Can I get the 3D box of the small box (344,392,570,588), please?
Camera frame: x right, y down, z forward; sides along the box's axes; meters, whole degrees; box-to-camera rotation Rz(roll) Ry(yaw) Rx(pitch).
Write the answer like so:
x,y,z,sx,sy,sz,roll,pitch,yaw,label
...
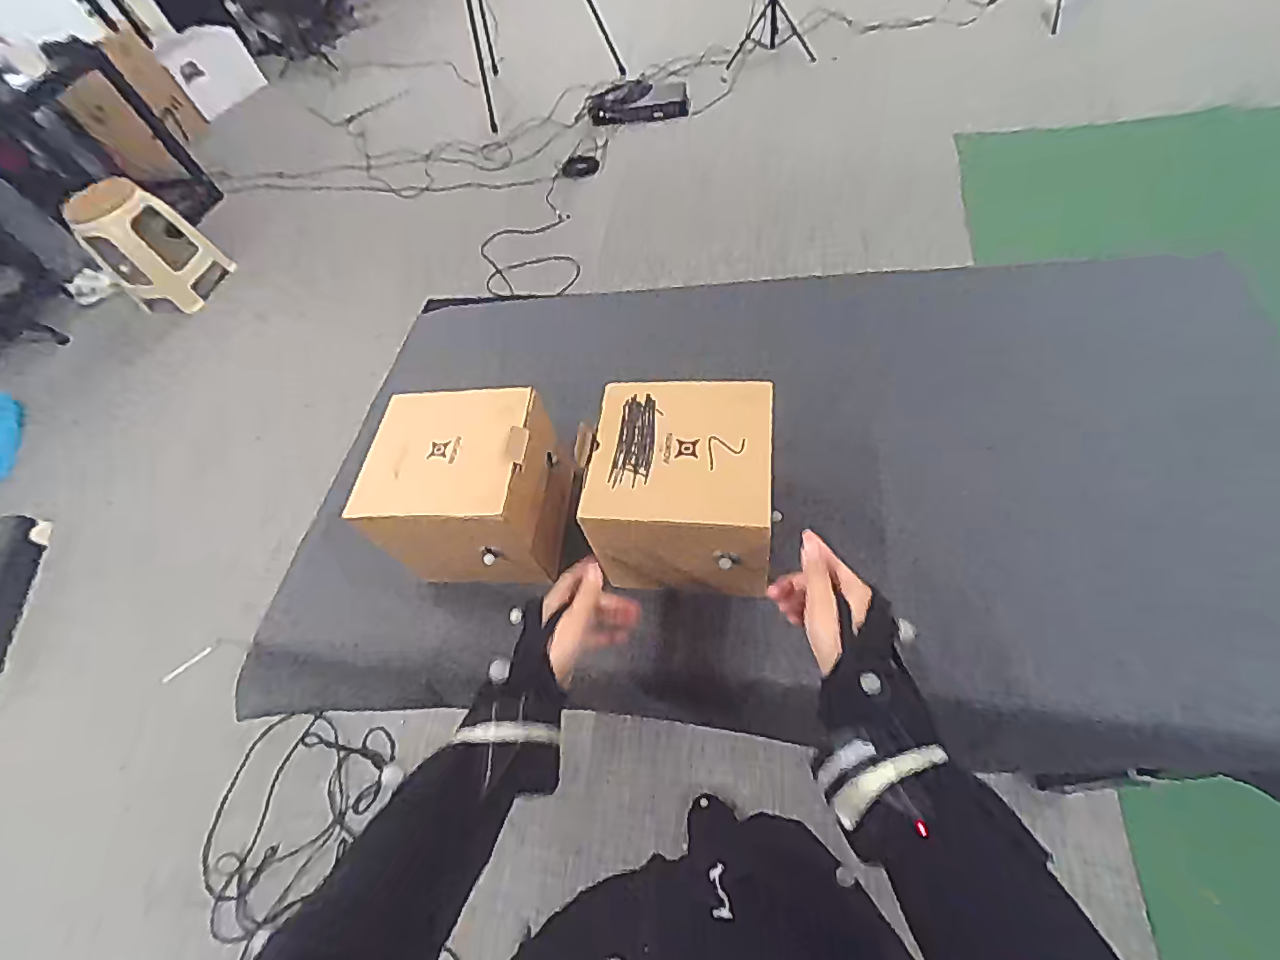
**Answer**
x,y,z,sx,sy,sz,roll,pitch,yaw,label
-0.192,0.018,0.632,0.179,0.176,0.168,-2,55,11,small box
